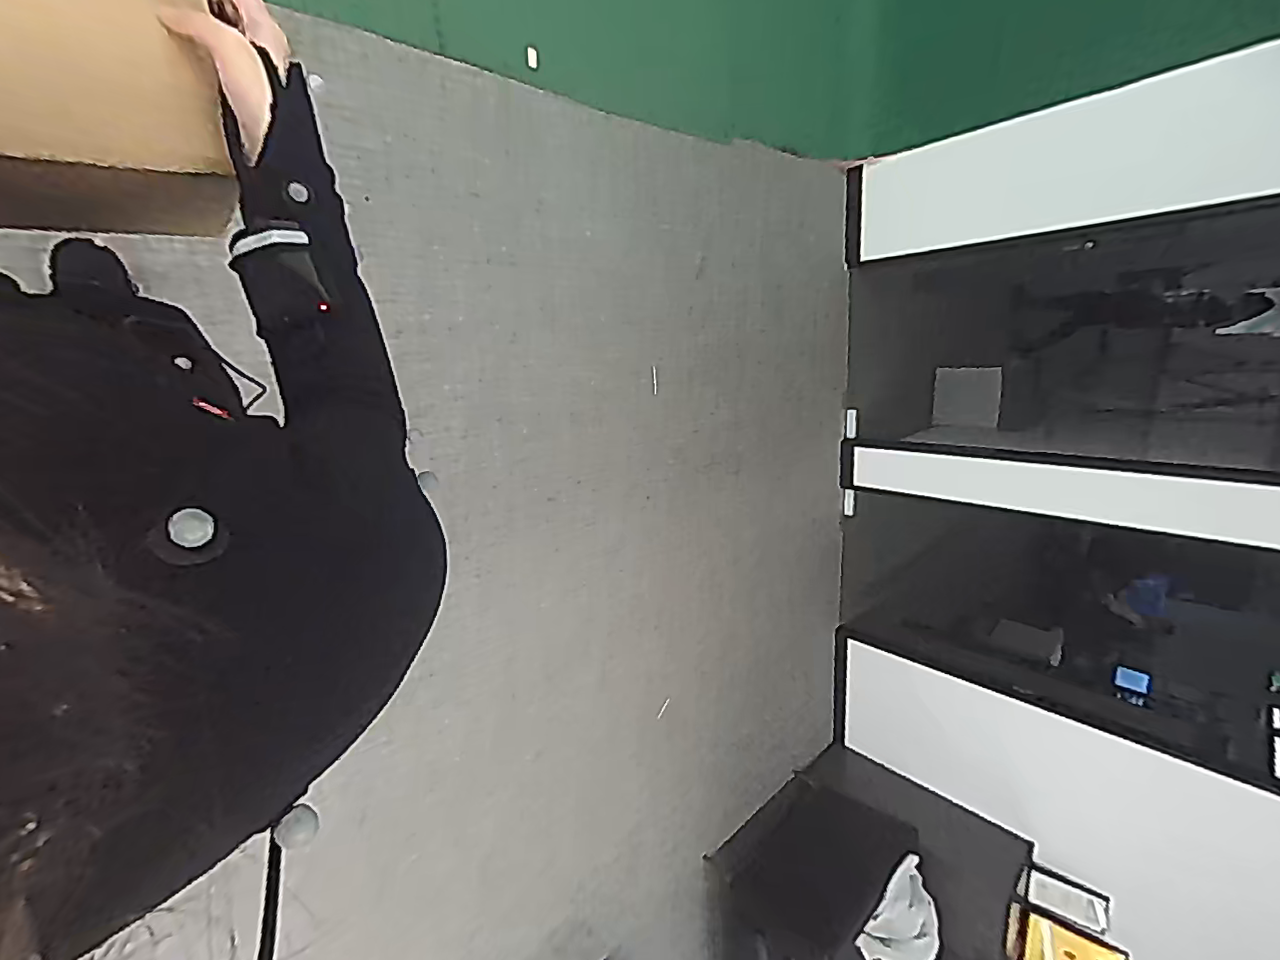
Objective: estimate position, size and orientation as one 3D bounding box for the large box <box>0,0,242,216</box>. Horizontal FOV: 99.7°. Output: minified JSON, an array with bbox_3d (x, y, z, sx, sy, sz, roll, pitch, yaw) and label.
[{"bbox_3d":[-0.562,-0.374,0.369,0.408,0.320,0.320,-17,111,-36],"label":"large box"}]
